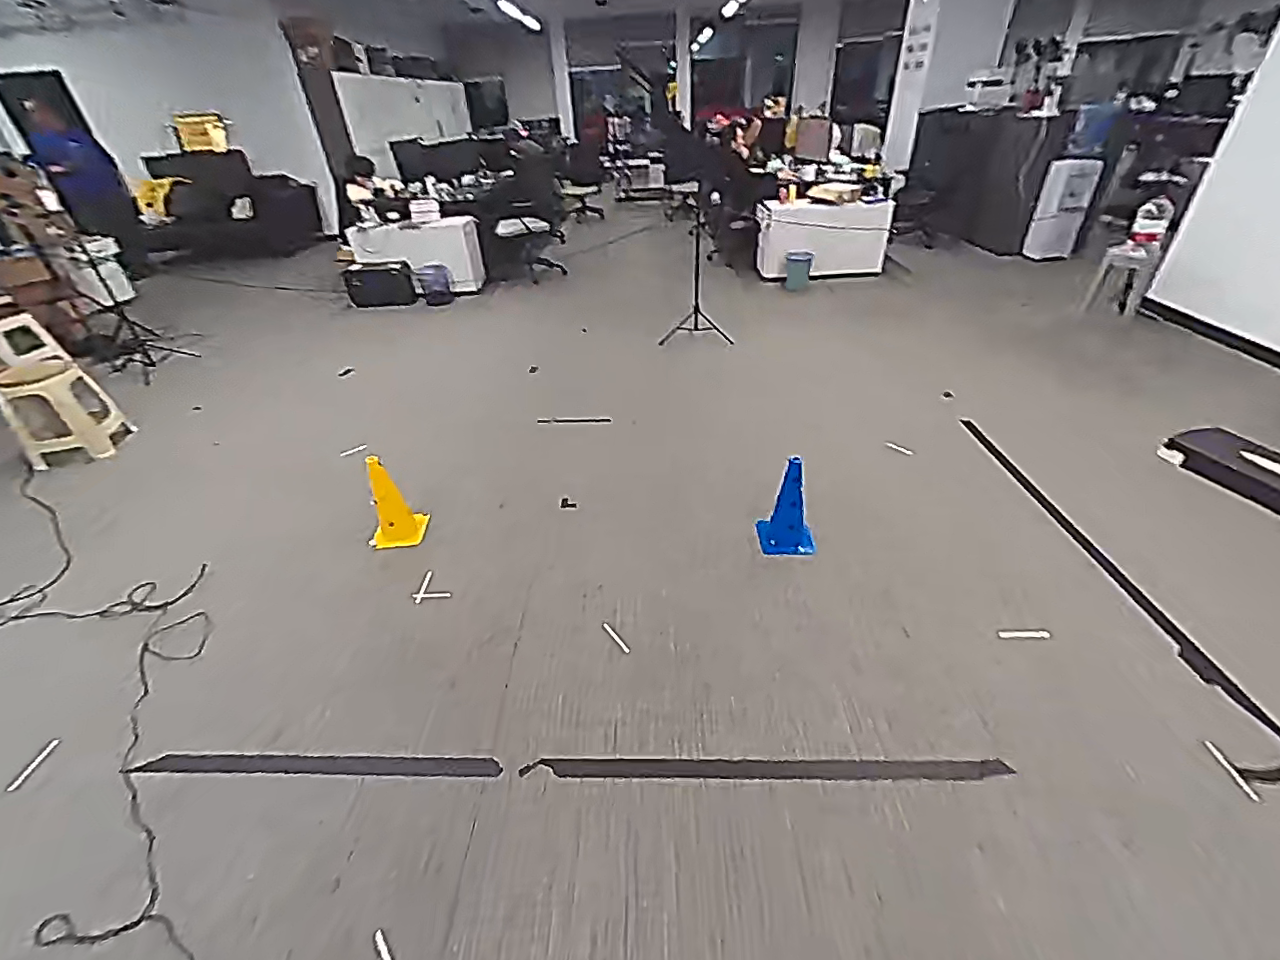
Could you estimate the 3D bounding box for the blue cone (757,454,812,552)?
[{"bbox_3d":[0.548,0.078,1.992,0.193,0.380,0.192,-1,34,4],"label":"blue cone"}]
